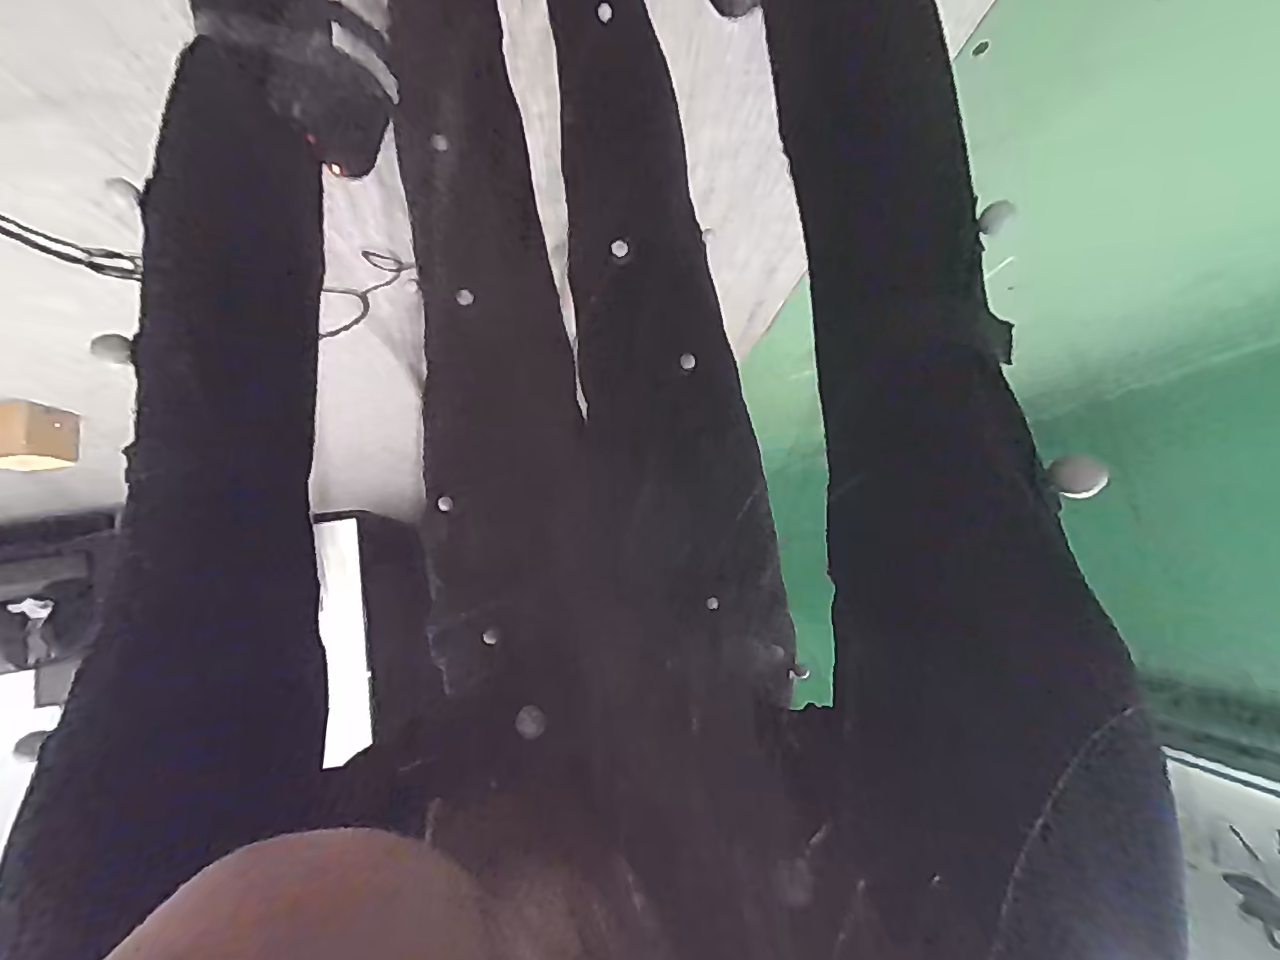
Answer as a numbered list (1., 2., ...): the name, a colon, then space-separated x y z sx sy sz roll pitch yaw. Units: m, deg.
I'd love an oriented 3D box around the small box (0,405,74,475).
1. small box: -1.899 -0.120 1.656 0.179 0.176 0.168 -8 172 -4
